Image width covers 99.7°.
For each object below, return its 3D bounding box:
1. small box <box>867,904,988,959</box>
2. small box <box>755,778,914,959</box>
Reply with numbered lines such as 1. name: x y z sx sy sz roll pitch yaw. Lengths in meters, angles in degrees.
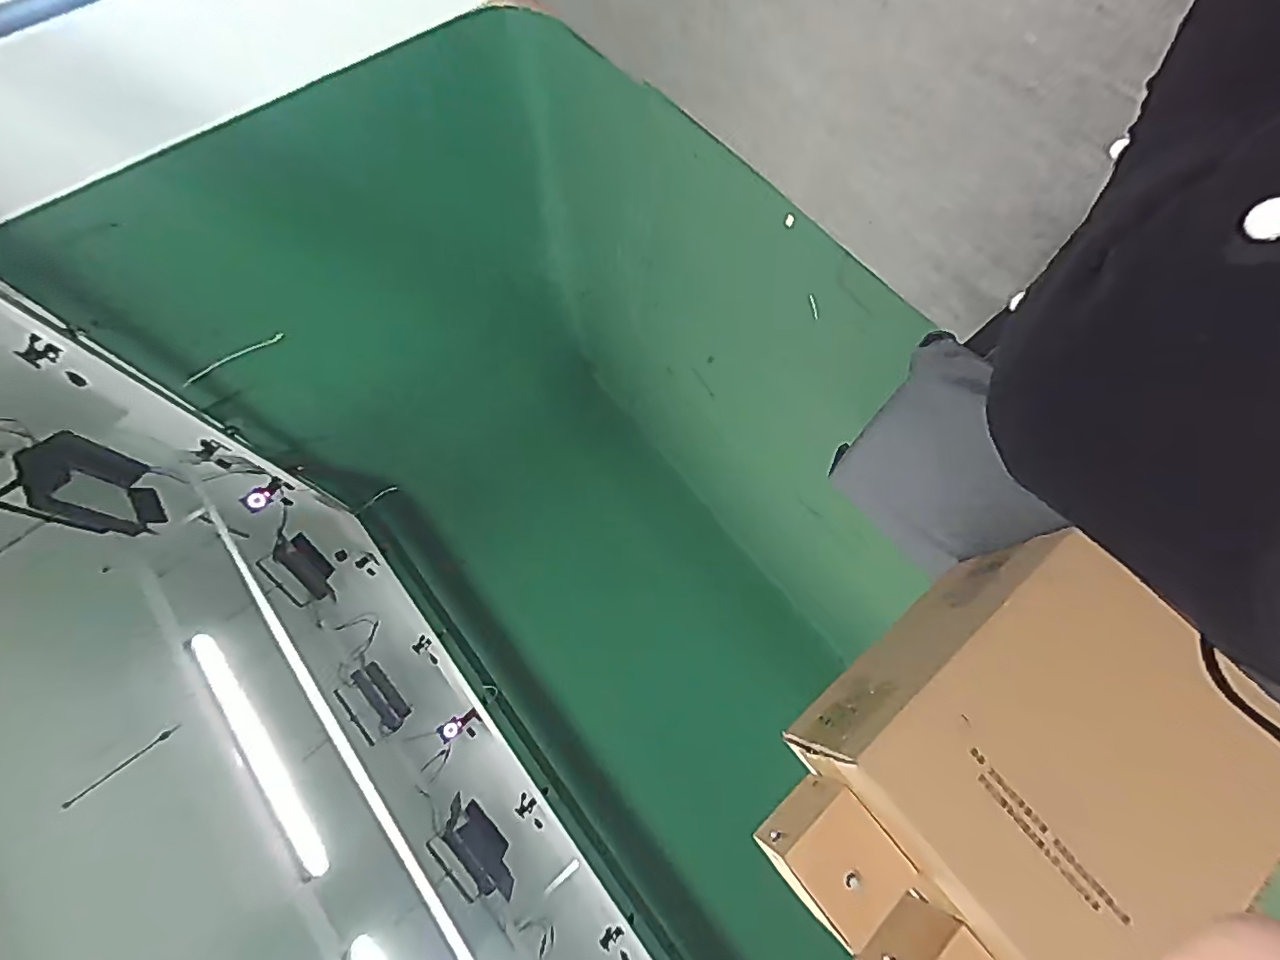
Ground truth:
1. small box: 0.507 0.863 0.901 0.168 0.176 0.179 51 163 16
2. small box: 0.343 0.677 0.966 0.179 0.176 0.168 49 161 13
